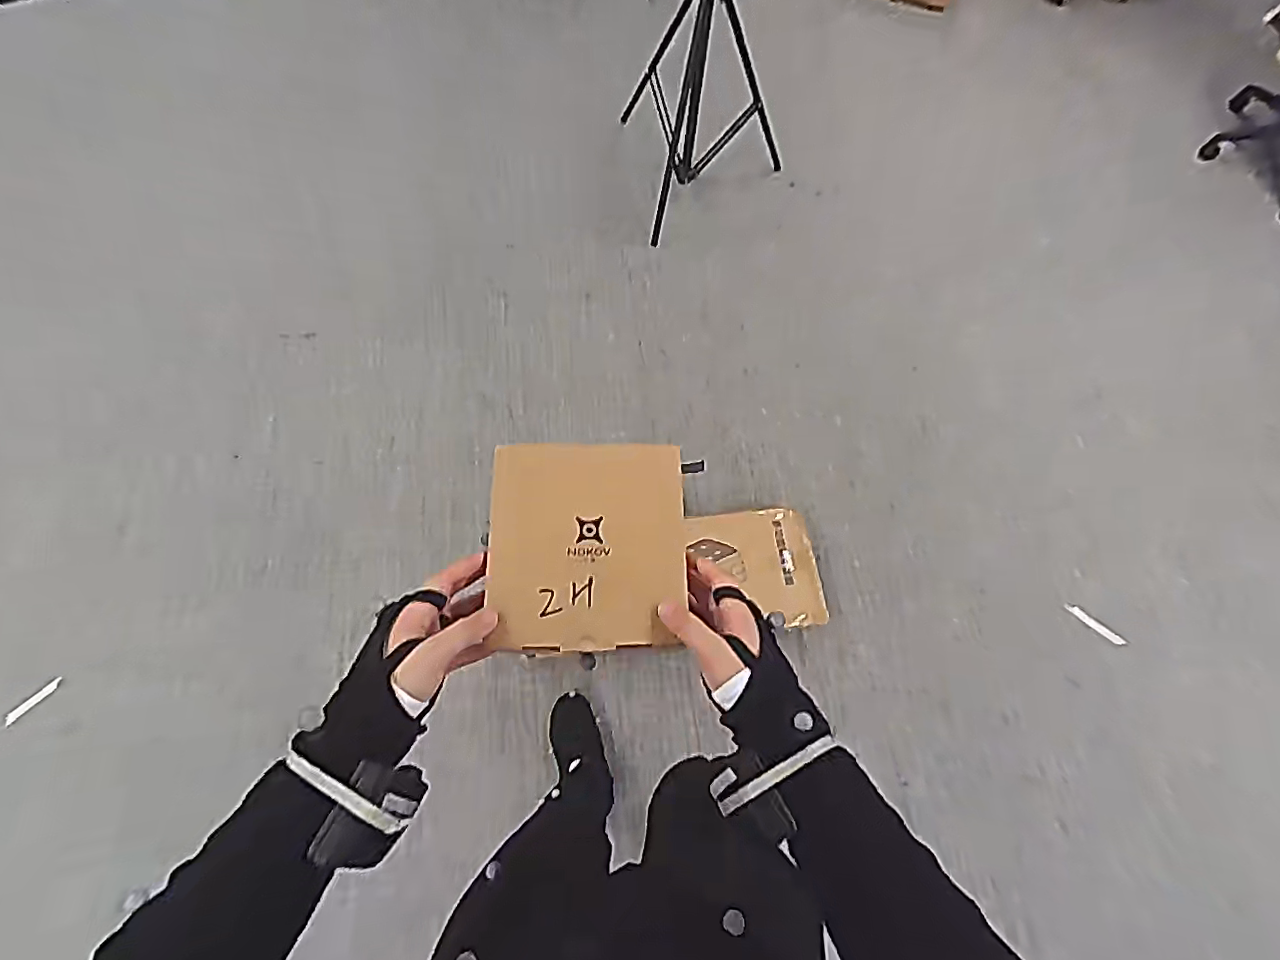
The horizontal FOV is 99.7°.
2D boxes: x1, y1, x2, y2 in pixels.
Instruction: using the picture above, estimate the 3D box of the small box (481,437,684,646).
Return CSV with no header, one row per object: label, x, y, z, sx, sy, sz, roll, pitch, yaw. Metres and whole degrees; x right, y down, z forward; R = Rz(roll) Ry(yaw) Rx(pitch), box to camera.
small box,-0.052,0.070,0.535,0.168,0.176,0.179,0,72,-4
